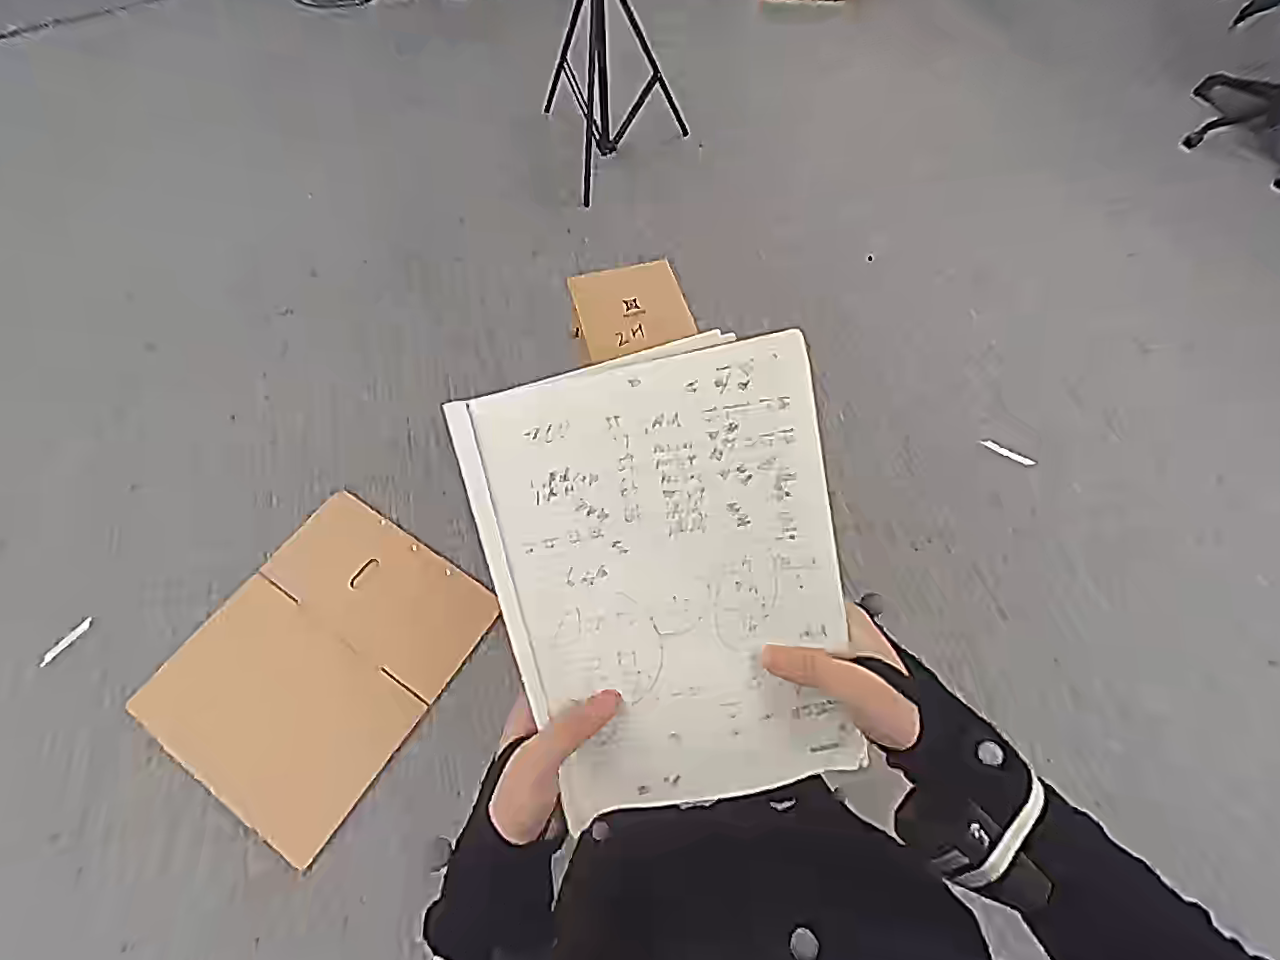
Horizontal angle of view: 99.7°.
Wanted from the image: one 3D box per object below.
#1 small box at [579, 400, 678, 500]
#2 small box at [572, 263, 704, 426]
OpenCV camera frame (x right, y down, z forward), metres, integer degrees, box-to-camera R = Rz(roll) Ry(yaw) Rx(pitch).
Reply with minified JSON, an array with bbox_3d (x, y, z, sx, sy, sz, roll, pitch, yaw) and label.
[{"bbox_3d":[-0.026,-0.071,1.172,0.168,0.176,0.179,-16,65,-10],"label":"small box"},{"bbox_3d":[-0.009,-0.215,0.877,0.168,0.176,0.179,-14,66,-8],"label":"small box"}]
